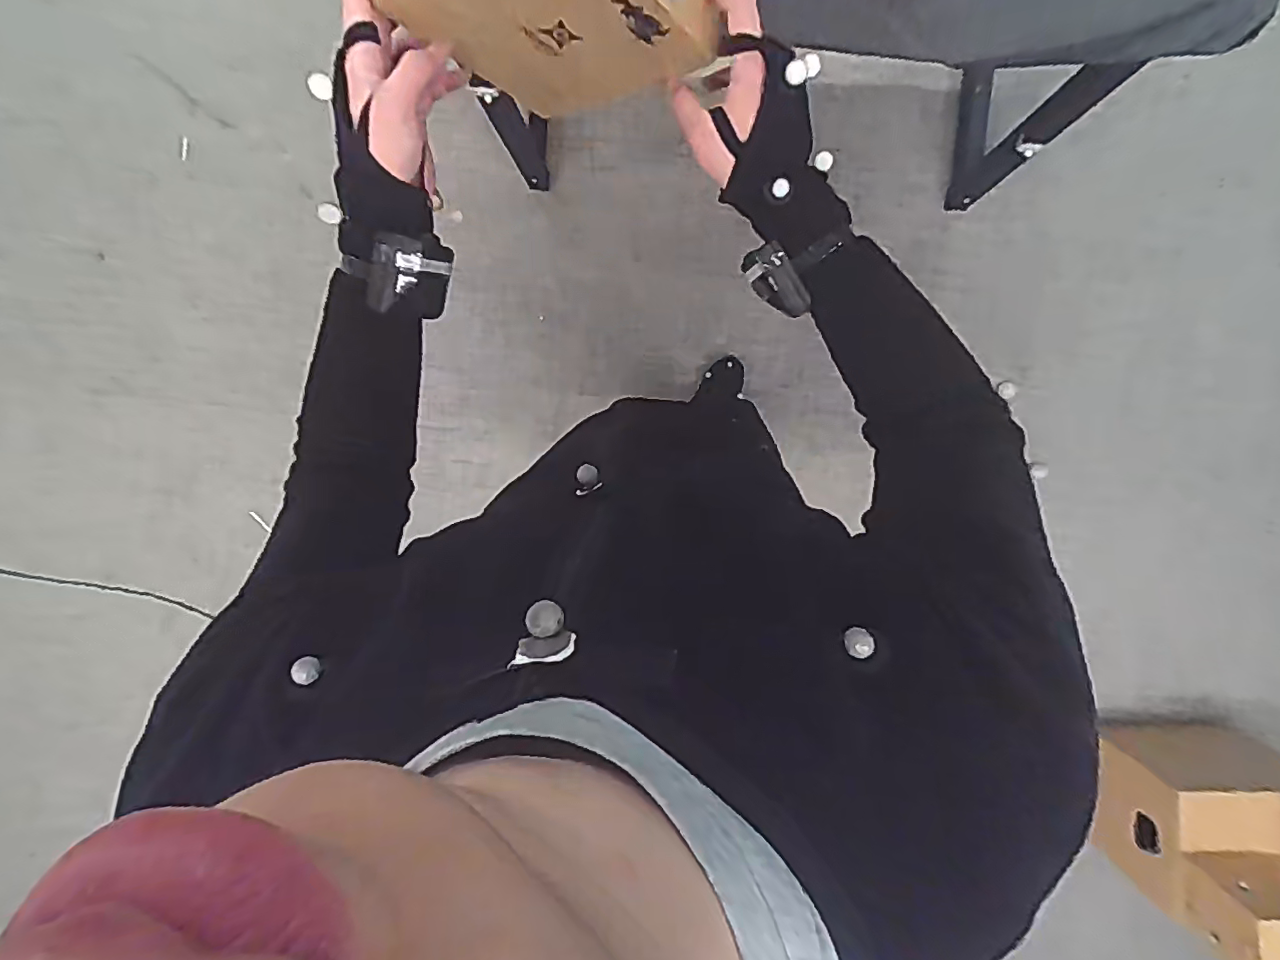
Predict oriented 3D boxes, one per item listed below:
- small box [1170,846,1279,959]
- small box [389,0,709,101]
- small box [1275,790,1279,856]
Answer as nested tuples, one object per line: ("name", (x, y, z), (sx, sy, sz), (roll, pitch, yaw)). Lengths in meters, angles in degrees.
("small box", (1.291, 0.915, 1.150), (0.179, 0.176, 0.168), (-4, 97, 3))
("small box", (-0.056, -0.391, 0.349), (0.179, 0.168, 0.176), (12, 103, 34))
("small box", (1.499, 0.776, 1.126), (0.168, 0.176, 0.179), (1, 91, 3))
